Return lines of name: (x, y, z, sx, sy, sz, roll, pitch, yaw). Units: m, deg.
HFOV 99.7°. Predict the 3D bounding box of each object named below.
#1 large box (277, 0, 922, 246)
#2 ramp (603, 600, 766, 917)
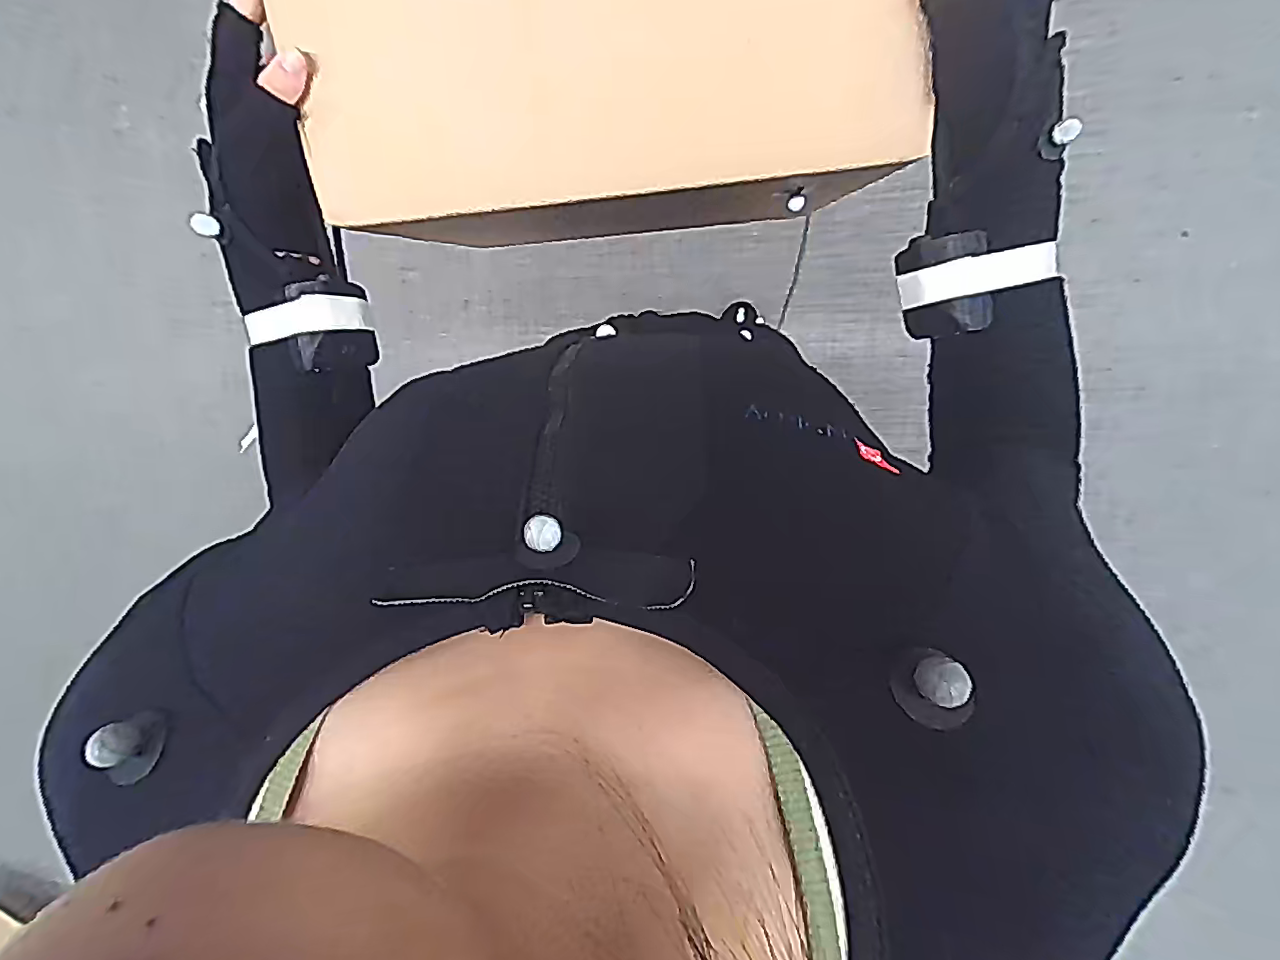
large box: (-0.025, -0.390, 0.458, 0.408, 0.320, 0.320, -4, 110, 4)
ramp: (0.130, 0.861, 1.663, 0.509, 0.206, 0.991, -1, 106, 8)
